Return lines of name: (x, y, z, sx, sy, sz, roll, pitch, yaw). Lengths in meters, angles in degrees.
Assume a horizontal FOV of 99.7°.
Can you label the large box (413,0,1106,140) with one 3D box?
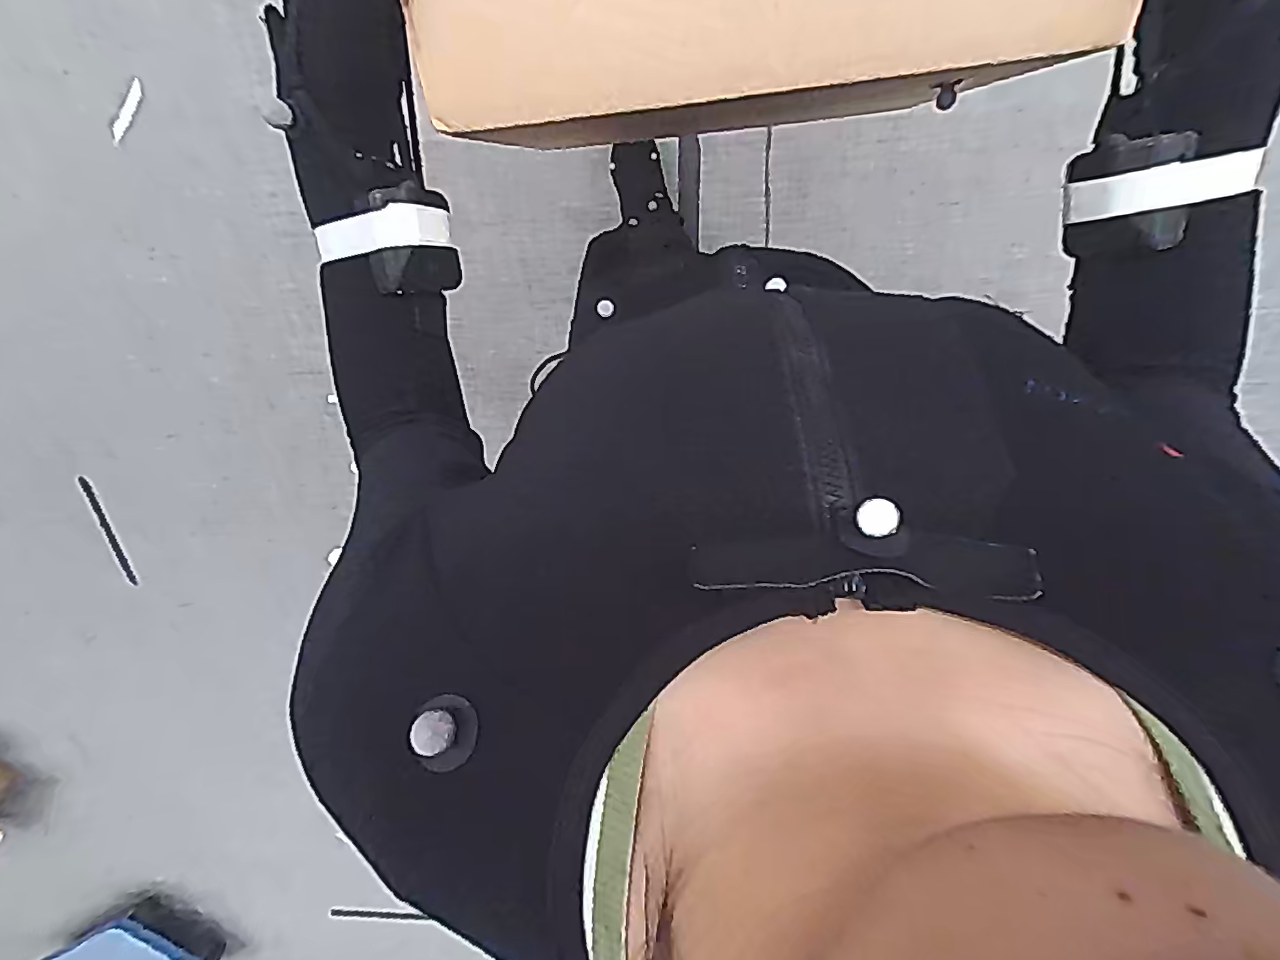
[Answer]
large box: (0.061, -0.447, 0.384, 0.408, 0.320, 0.320, -4, 119, 5)
